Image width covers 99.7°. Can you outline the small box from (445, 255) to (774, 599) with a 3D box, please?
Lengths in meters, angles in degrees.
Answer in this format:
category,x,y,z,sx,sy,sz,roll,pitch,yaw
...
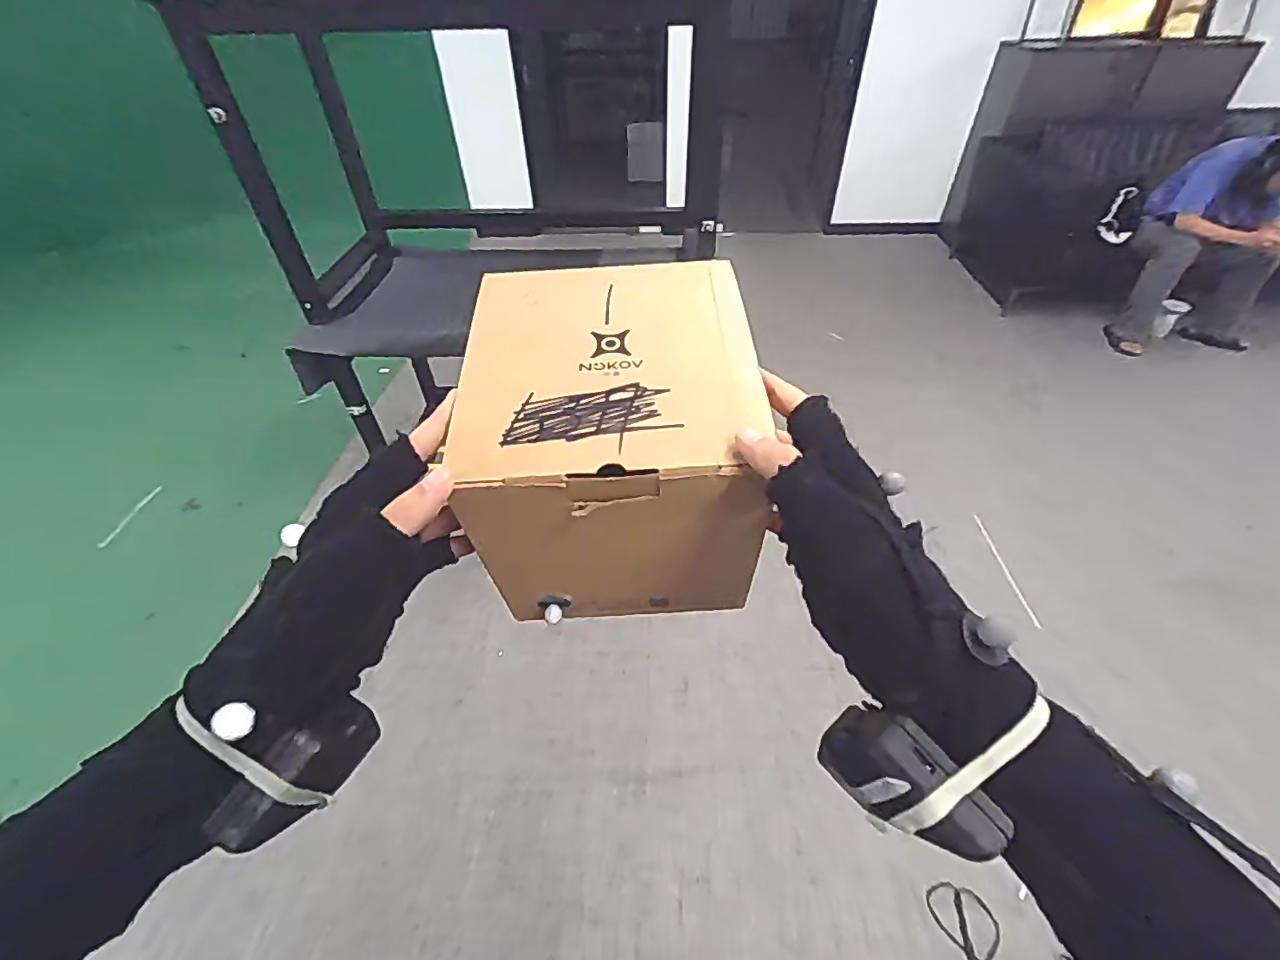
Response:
category,x,y,z,sx,sy,sz,roll,pitch,yaw
small box,-0.015,-0.028,0.374,0.168,0.176,0.179,-3,52,0
